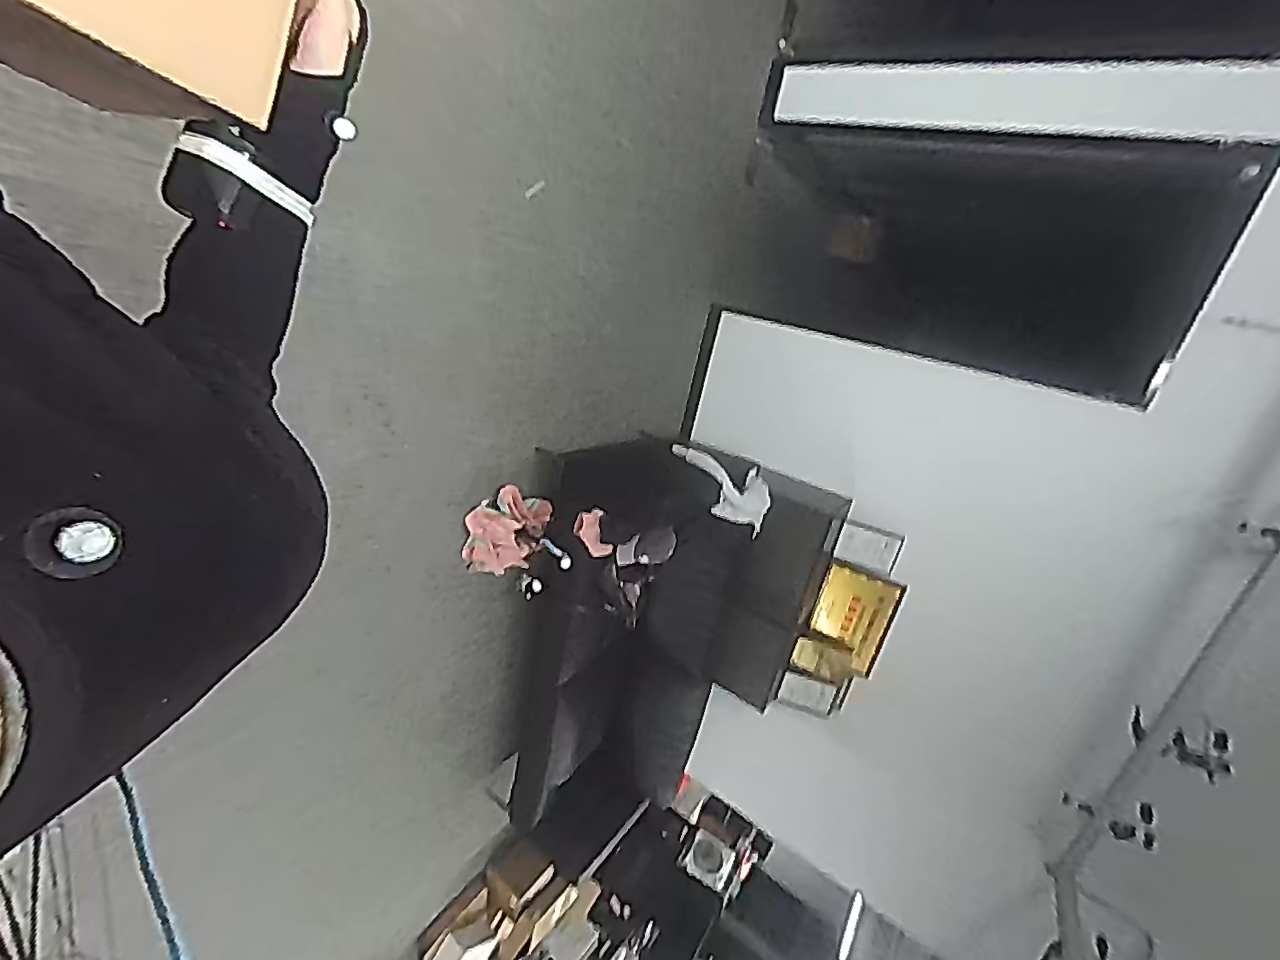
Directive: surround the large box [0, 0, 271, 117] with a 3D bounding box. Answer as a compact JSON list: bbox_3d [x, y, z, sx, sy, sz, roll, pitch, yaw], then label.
[{"bbox_3d":[-0.453,-0.457,0.264,0.408,0.320,0.320,2,109,-61],"label":"large box"}]
